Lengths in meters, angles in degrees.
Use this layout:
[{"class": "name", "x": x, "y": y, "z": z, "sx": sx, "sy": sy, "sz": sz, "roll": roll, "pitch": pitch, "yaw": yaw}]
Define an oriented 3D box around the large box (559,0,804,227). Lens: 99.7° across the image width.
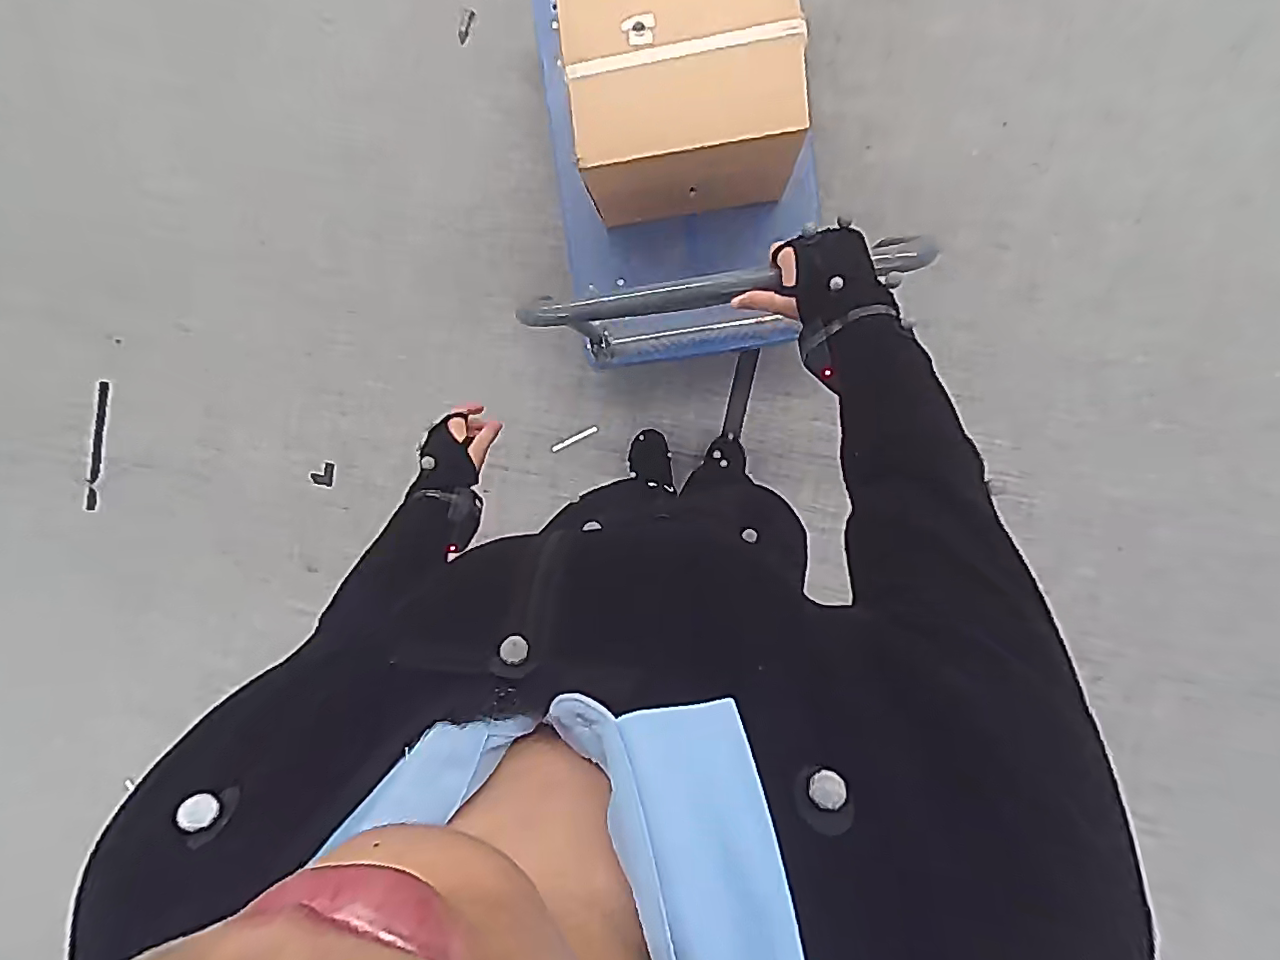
[{"class": "large box", "x": 0.088, "y": -0.748, "z": 1.090, "sx": 0.408, "sy": 0.320, "sz": 0.320, "roll": -6, "pitch": 95, "yaw": 7}]
